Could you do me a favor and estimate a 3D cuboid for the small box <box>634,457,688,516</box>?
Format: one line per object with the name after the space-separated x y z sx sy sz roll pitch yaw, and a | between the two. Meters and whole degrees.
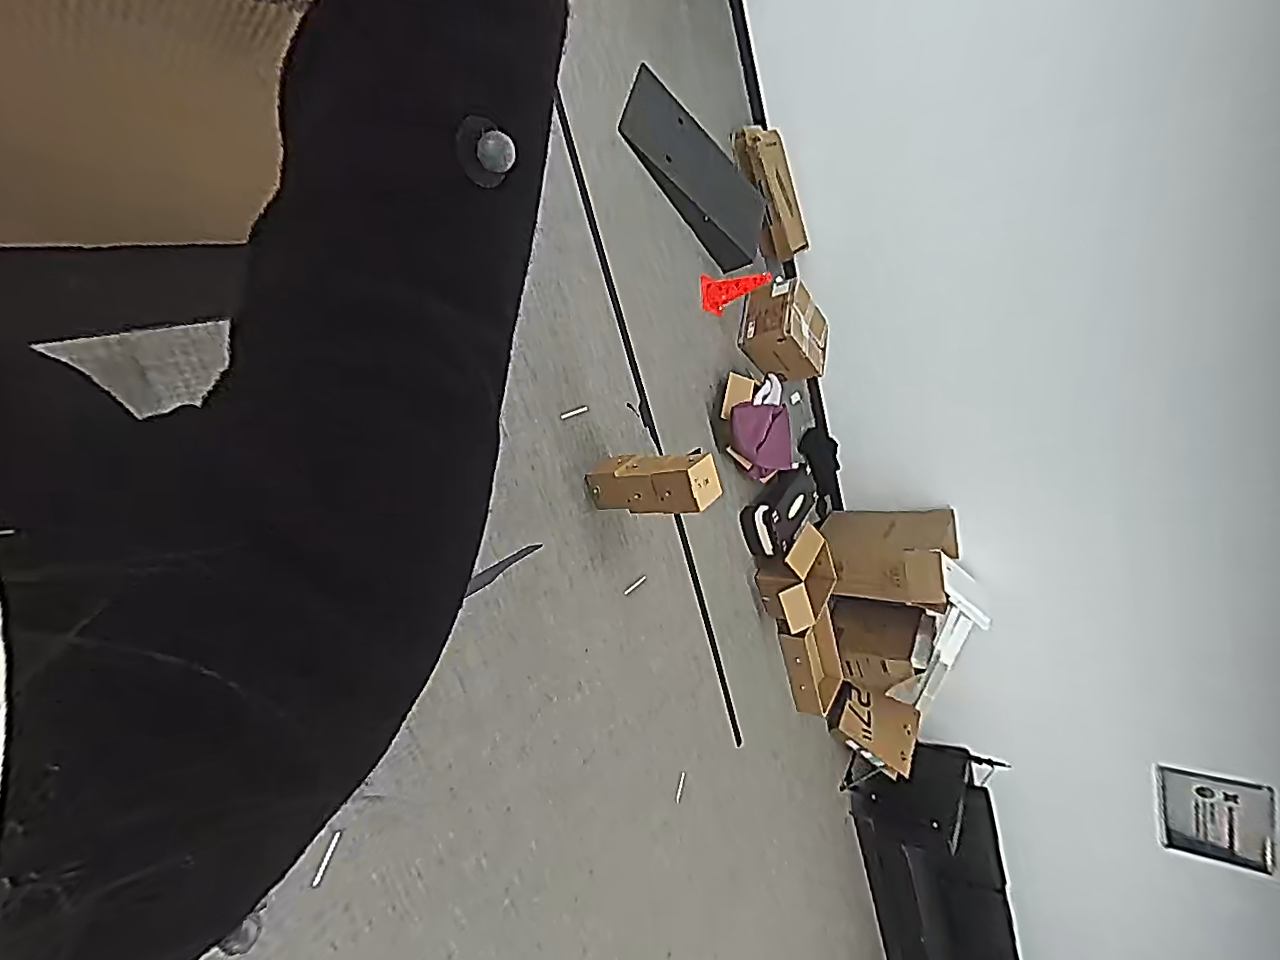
0.096 0.028 2.077 0.179 0.176 0.168 -41 117 -44 | small box

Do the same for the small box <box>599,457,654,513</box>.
-0.035 0.020 2.177 0.179 0.176 0.168 -39 116 -43 | small box

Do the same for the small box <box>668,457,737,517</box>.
0.229 0.025 1.977 0.179 0.176 0.168 -35 113 -46 | small box
